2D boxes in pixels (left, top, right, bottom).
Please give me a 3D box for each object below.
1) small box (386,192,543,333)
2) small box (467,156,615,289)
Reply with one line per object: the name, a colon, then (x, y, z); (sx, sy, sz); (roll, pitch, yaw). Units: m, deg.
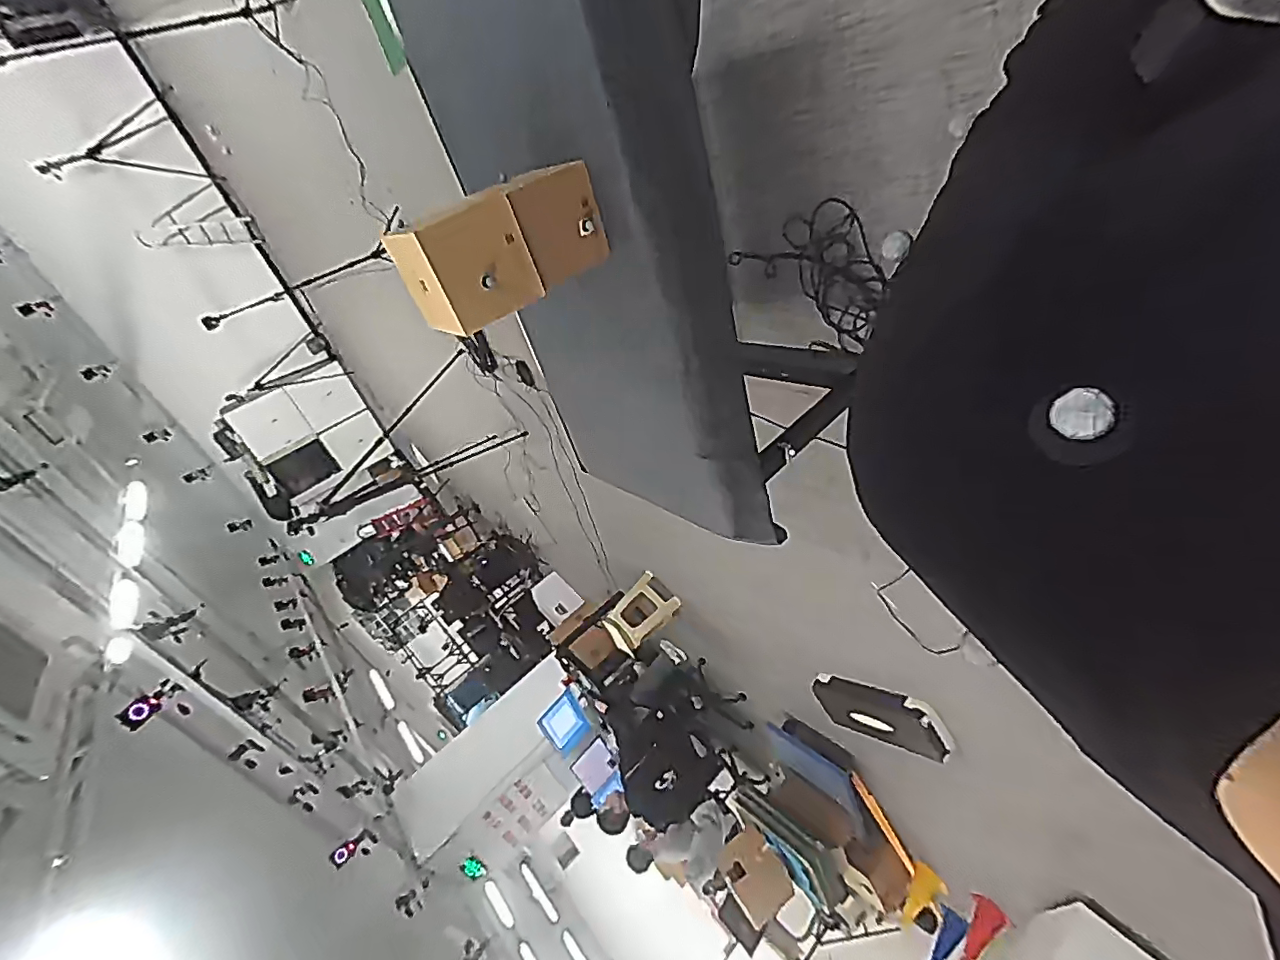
small box: (-0.286, -0.367, 0.914); (0.179, 0.176, 0.168); (25, 146, 47)
small box: (-0.176, -0.465, 0.983); (0.179, 0.176, 0.168); (24, 145, 45)
